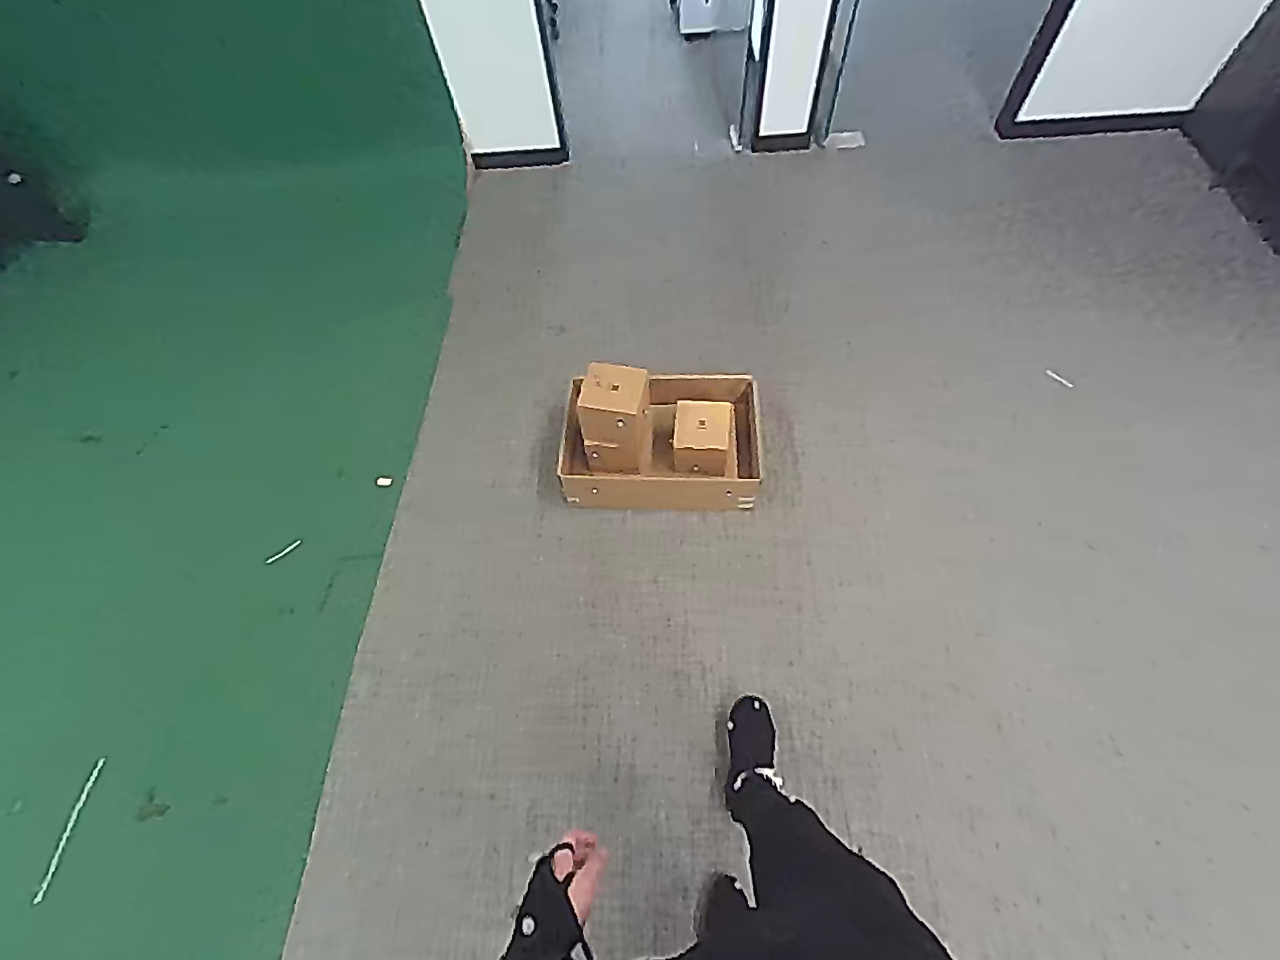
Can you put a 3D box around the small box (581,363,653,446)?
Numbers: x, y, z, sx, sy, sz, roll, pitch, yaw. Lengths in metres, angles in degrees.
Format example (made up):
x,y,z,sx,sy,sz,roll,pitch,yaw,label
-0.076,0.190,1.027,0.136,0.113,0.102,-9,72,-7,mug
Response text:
x,y,z,sx,sy,sz,roll,pitch,yaw,label
-0.061,-0.220,1.601,0.179,0.176,0.168,9,61,8,small box
